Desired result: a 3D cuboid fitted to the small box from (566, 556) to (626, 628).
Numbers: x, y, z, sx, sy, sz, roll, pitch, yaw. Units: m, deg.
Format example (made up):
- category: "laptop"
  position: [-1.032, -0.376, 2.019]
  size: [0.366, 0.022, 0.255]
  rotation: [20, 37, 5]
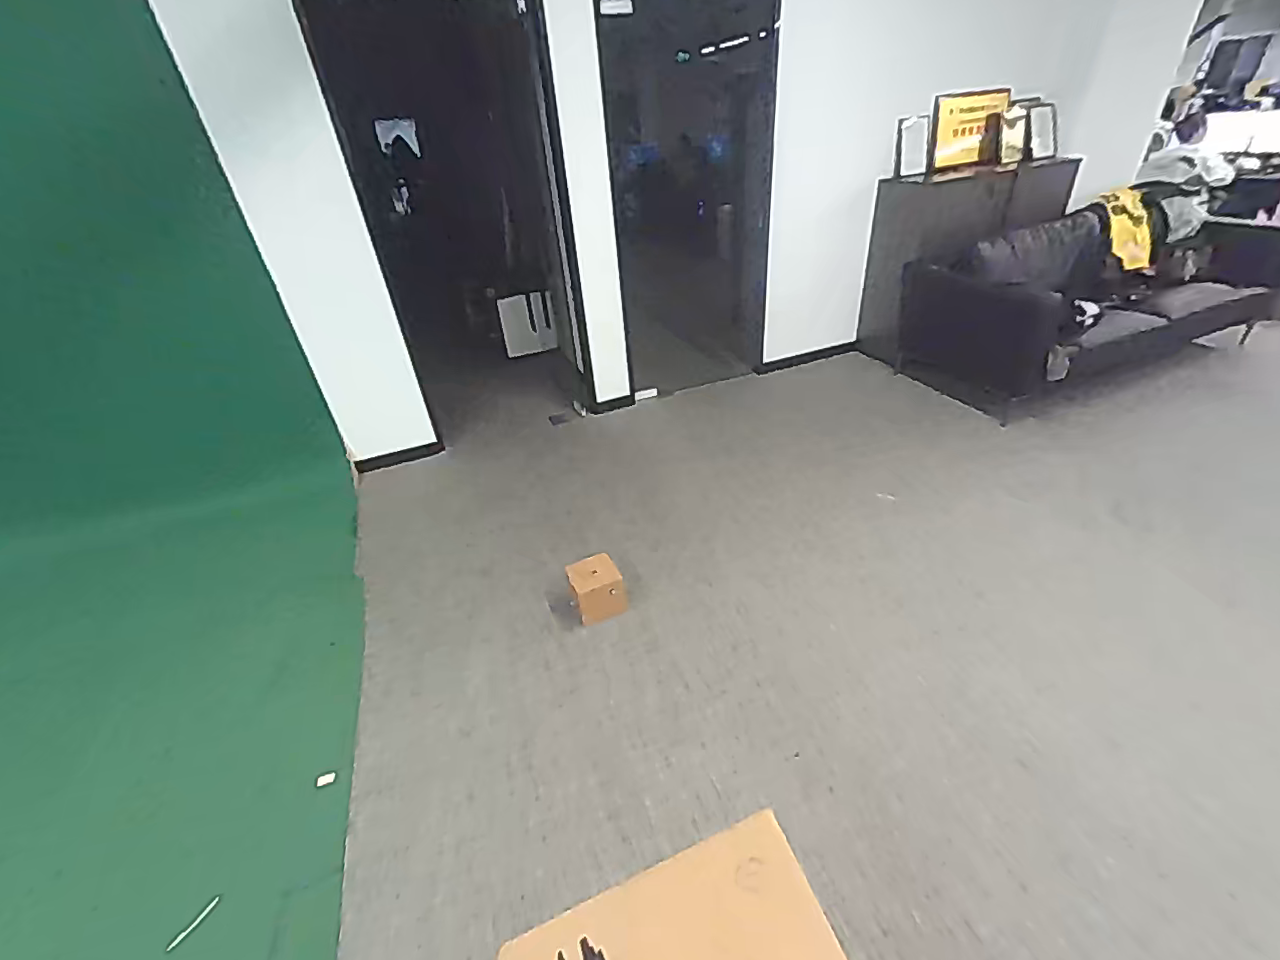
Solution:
- category: "small box"
  position: [-0.162, 0.420, 2.032]
  size: [0.179, 0.176, 0.168]
  rotation: [-18, 36, -18]
